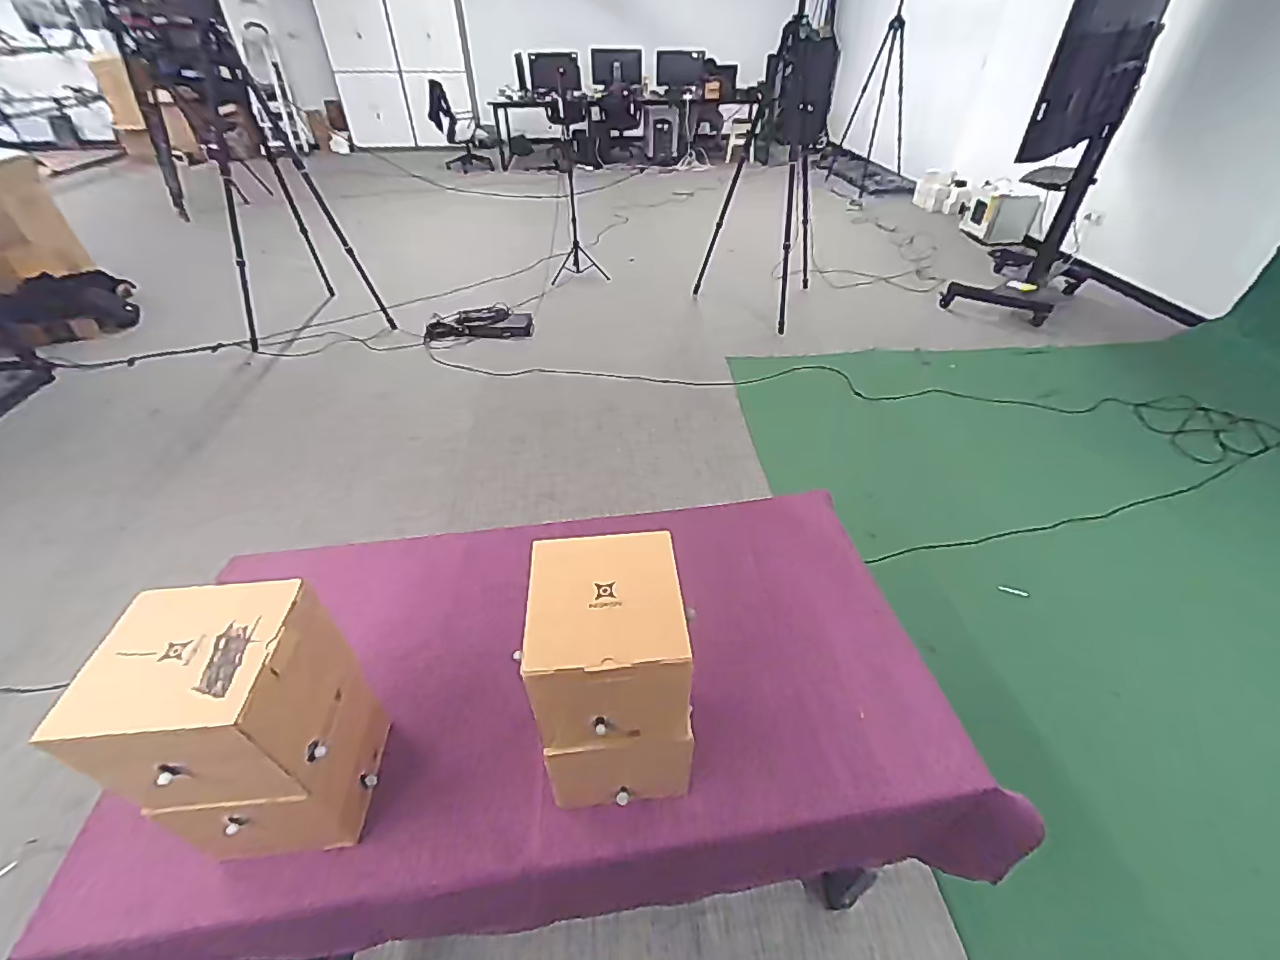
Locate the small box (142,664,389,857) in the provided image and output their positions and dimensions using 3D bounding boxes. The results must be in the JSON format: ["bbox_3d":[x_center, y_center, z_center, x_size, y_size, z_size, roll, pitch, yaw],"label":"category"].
[{"bbox_3d":[-0.452,0.359,0.691,0.179,0.176,0.168,-3,41,-4],"label":"small box"}]

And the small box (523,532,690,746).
[{"bbox_3d":[-0.039,0.185,0.638,0.168,0.176,0.179,-4,42,-4],"label":"small box"}]

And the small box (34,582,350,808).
[{"bbox_3d":[-0.448,0.232,0.586,0.179,0.176,0.168,-4,41,-4],"label":"small box"}]

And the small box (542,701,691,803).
[{"bbox_3d":[-0.035,0.316,0.736,0.179,0.176,0.168,-4,40,-5],"label":"small box"}]
